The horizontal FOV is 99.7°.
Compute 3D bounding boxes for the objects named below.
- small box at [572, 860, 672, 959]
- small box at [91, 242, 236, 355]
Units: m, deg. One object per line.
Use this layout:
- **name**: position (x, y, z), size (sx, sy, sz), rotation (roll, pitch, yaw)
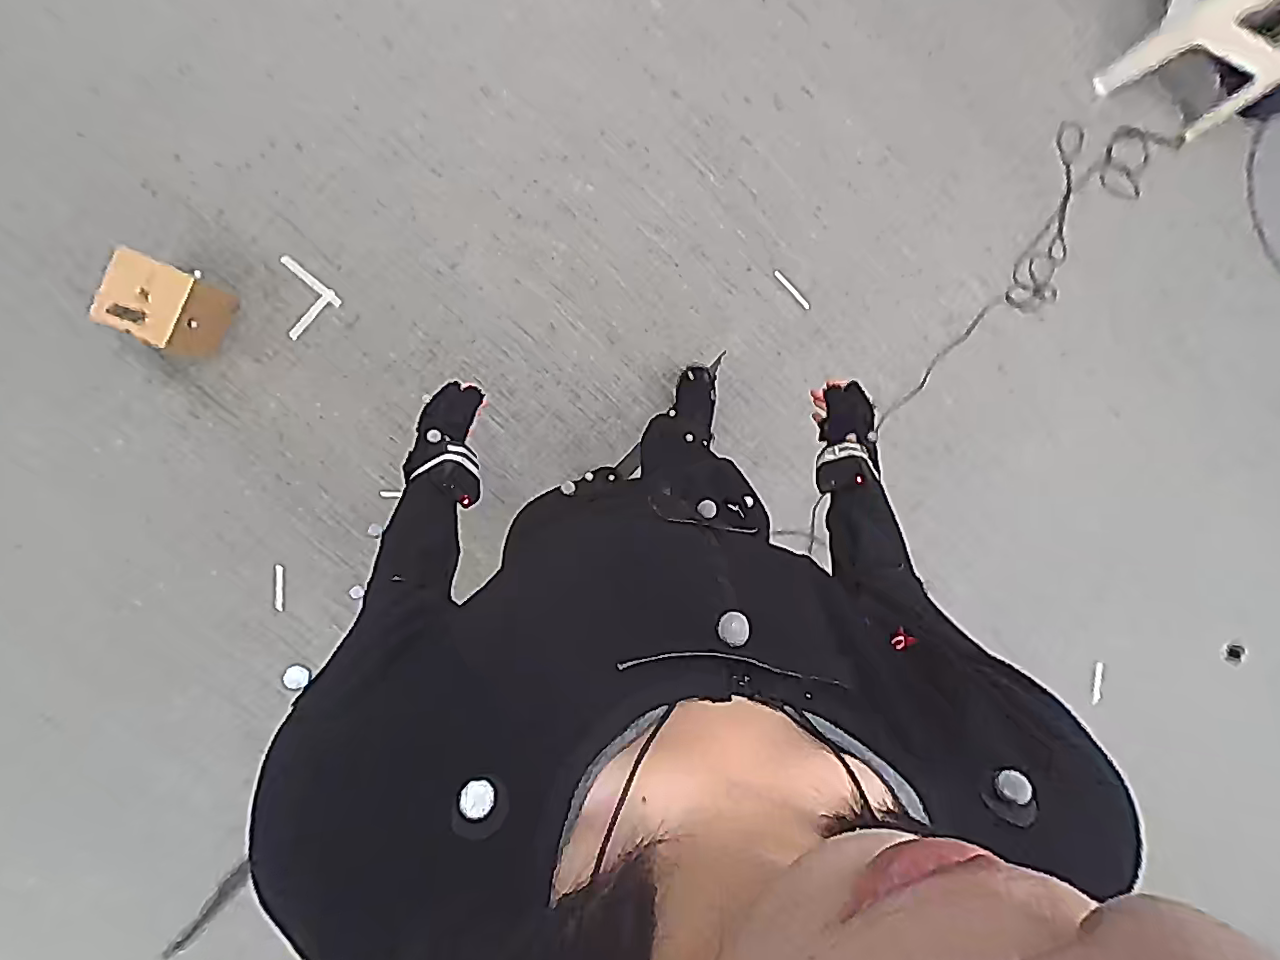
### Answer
- **small box**: position (-0.051, 1.094, 1.320), size (0.179, 0.176, 0.168), rotation (-43, 100, -4)
- **small box**: position (-1.103, -0.413, 1.269), size (0.168, 0.176, 0.179), rotation (25, 90, -9)
